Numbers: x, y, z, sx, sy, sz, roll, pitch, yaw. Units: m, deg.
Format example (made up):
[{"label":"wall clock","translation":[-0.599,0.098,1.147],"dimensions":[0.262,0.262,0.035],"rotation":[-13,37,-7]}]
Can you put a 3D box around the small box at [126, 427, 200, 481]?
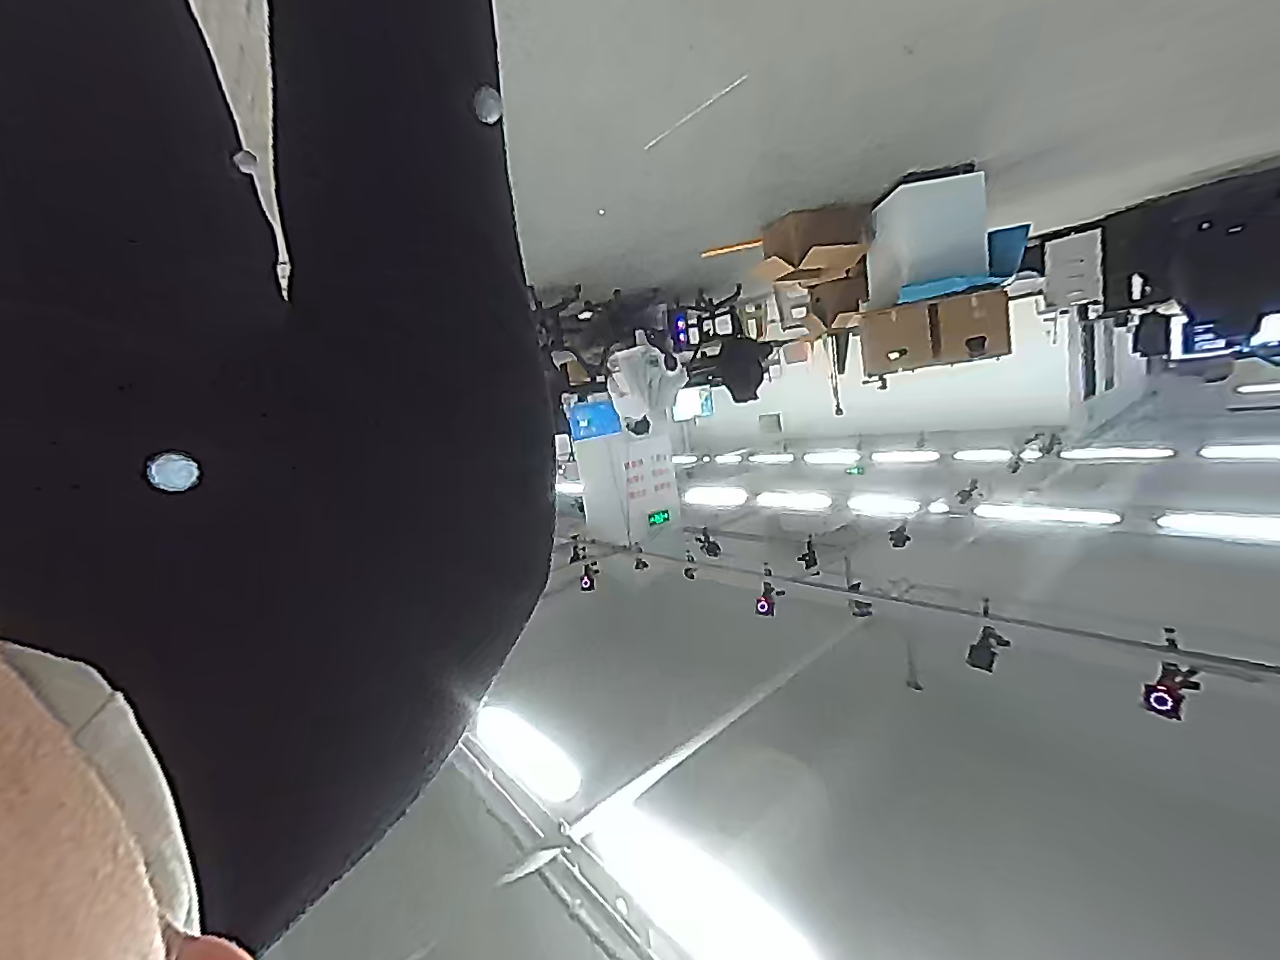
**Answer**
[{"label":"small box","translation":[-1.693,-0.096,1.923],"dimensions":[0.168,0.176,0.179],"rotation":[-14,-170,-38]}]
